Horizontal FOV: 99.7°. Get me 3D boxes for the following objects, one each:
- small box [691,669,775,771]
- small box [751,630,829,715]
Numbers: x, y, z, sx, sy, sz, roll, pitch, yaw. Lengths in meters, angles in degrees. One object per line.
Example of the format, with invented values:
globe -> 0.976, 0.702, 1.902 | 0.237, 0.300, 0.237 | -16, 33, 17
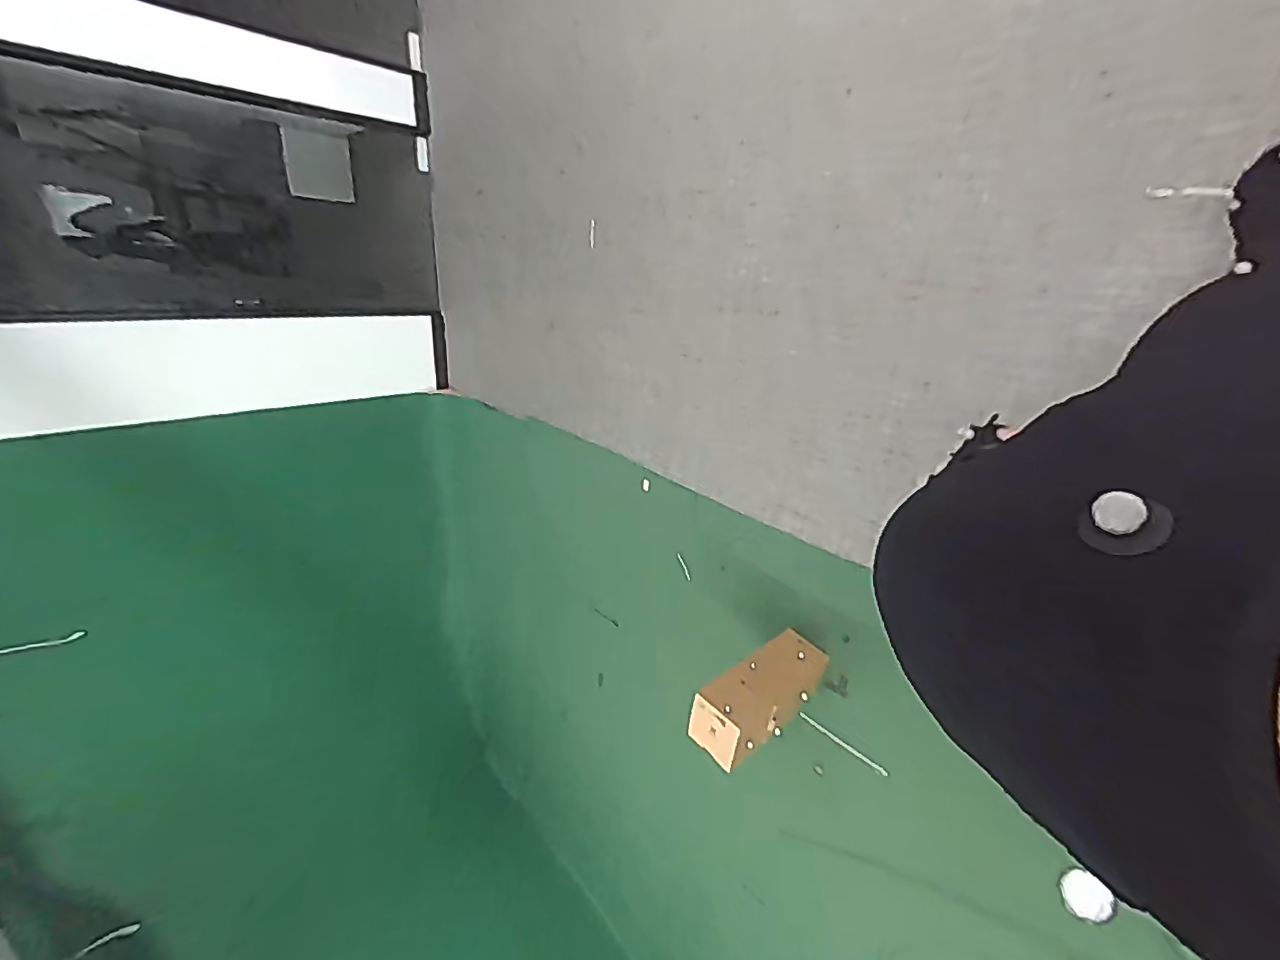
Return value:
small box -> 0.273, 0.698, 1.587 | 0.168, 0.176, 0.179 | 30, 124, 40
small box -> 0.506, 0.636, 1.810 | 0.168, 0.176, 0.179 | 33, 125, 37
